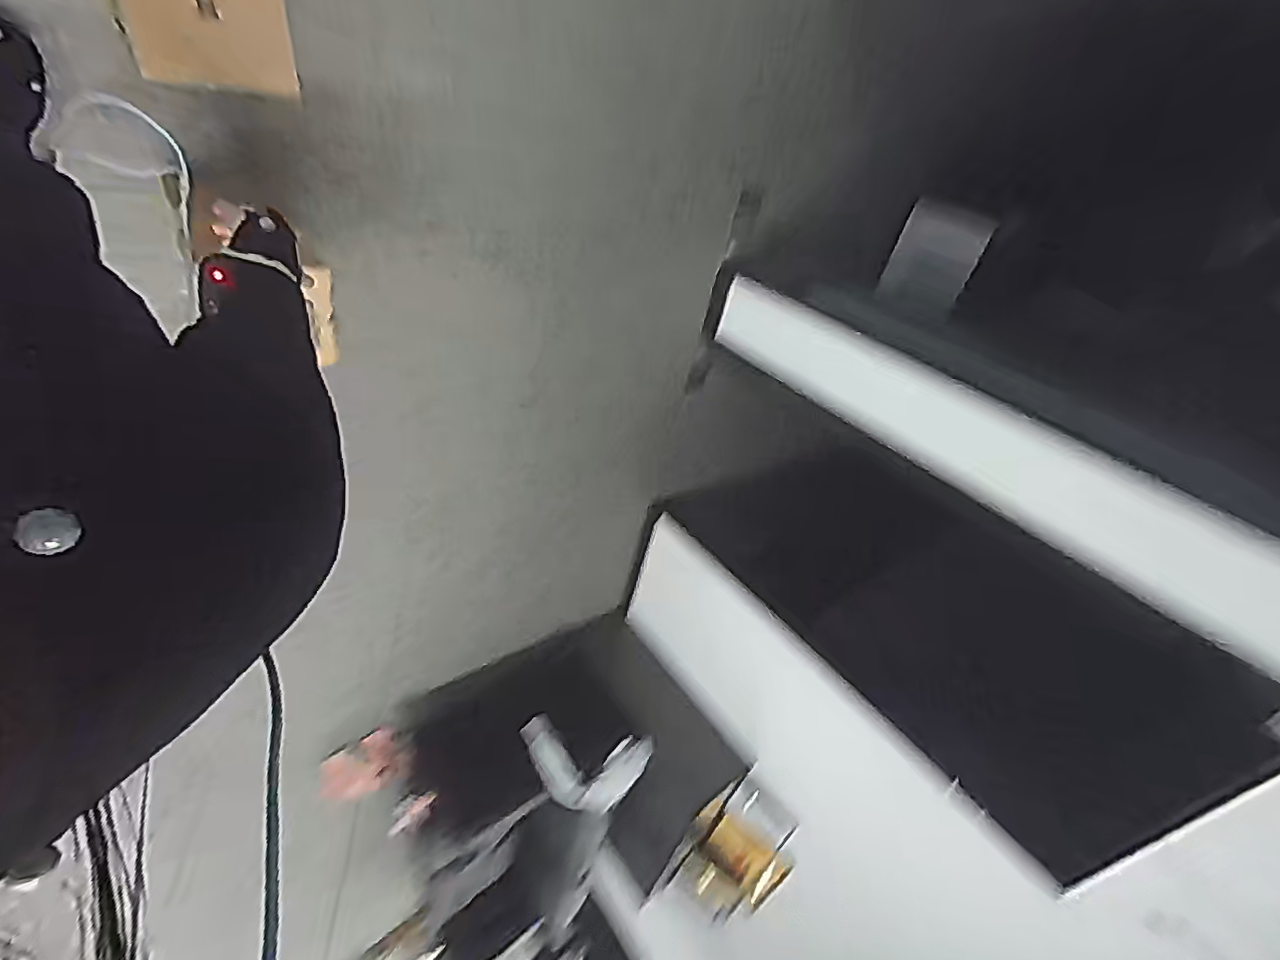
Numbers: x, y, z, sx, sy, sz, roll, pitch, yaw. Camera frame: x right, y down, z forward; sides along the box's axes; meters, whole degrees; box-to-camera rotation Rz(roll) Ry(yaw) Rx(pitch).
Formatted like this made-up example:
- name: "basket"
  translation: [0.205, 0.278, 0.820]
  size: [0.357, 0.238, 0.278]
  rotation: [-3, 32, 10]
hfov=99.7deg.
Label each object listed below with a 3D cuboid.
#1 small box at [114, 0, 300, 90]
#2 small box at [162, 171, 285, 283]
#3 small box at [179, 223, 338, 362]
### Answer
- name: "small box"
  translation: [-0.545, -0.609, 0.665]
  size: [0.168, 0.176, 0.179]
  rotation: [-20, 136, -36]
- name: "small box"
  translation: [-0.819, -0.497, 1.073]
  size: [0.179, 0.176, 0.168]
  rotation: [-15, 136, -38]
- name: "small box"
  translation: [-0.621, -0.309, 0.890]
  size: [0.179, 0.176, 0.168]
  rotation: [-15, 134, -38]
